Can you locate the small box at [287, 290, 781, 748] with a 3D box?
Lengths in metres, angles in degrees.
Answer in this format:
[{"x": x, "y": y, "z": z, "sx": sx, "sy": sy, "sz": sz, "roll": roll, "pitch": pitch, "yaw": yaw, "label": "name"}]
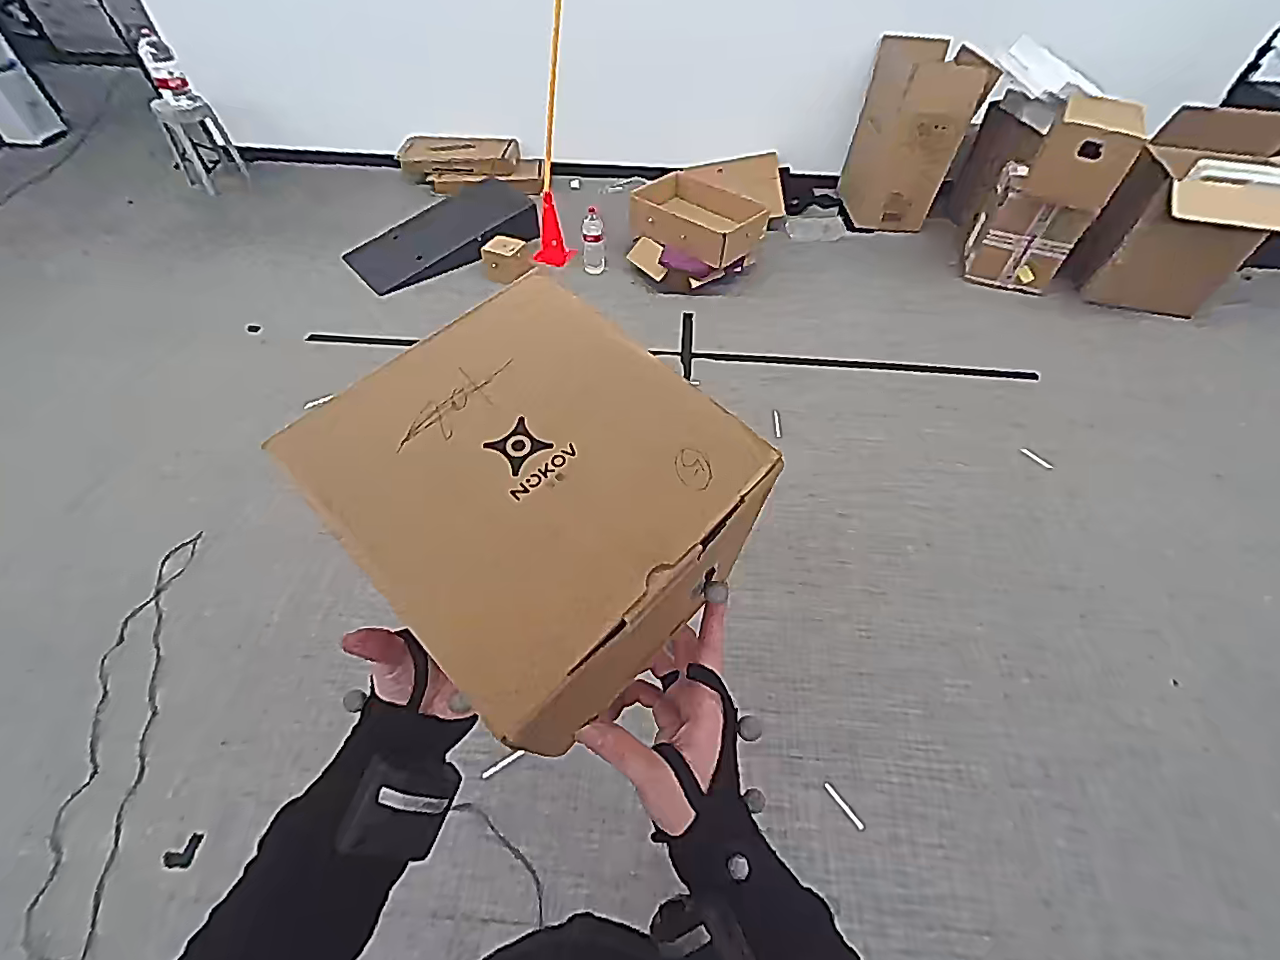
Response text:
[{"x": -0.051, "y": 0.032, "z": 0.324, "sx": 0.179, "sy": 0.176, "sz": 0.168, "roll": 40, "pitch": 67, "yaw": 18, "label": "small box"}]
